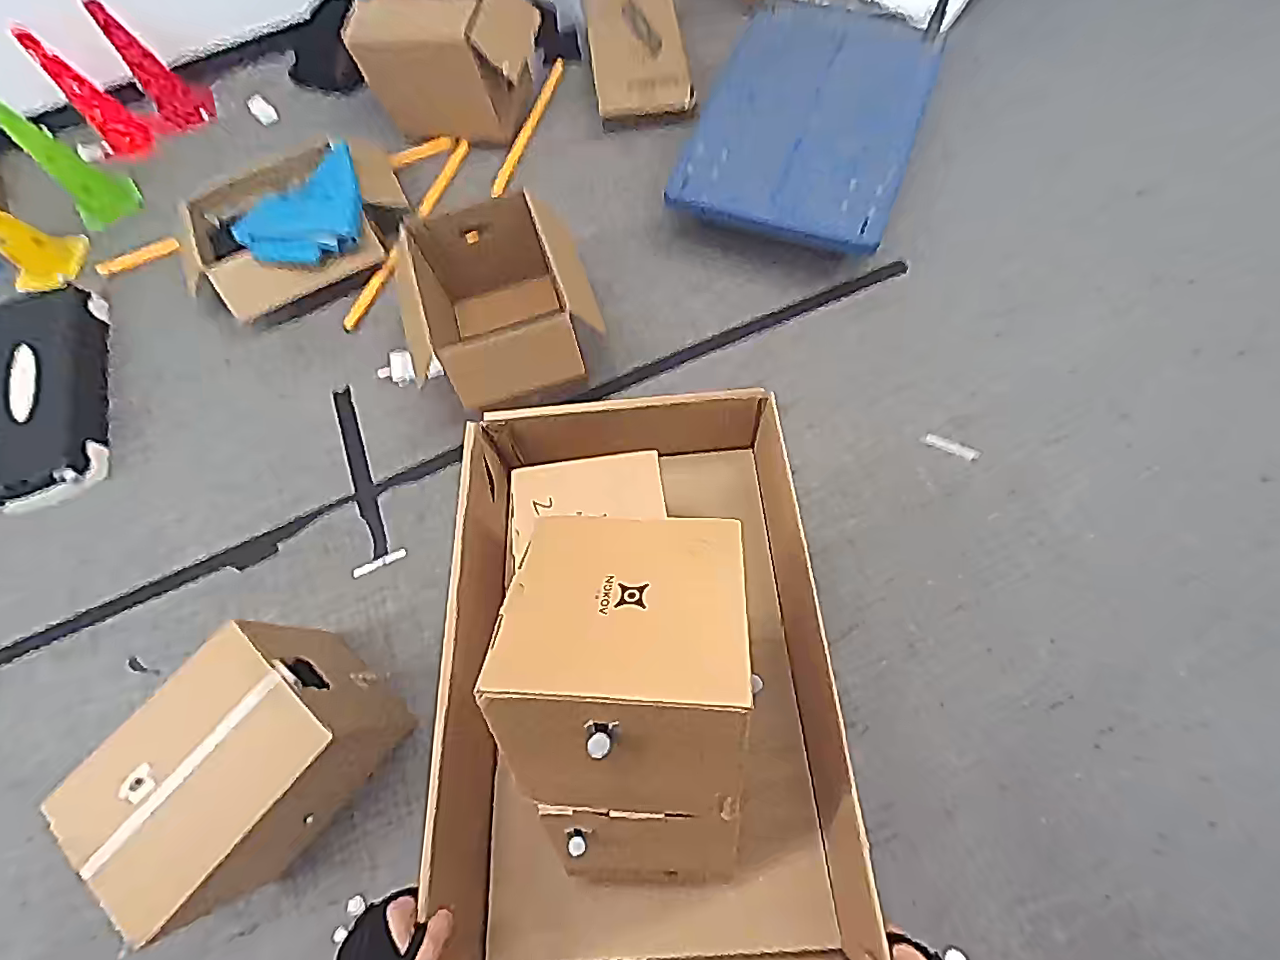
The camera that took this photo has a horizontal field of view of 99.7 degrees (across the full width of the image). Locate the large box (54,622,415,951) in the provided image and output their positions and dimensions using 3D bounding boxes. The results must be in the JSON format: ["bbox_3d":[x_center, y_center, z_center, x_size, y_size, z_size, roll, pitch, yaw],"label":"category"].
[{"bbox_3d":[-0.738,0.540,1.052,0.320,0.320,0.408,36,77,17],"label":"large box"}]
